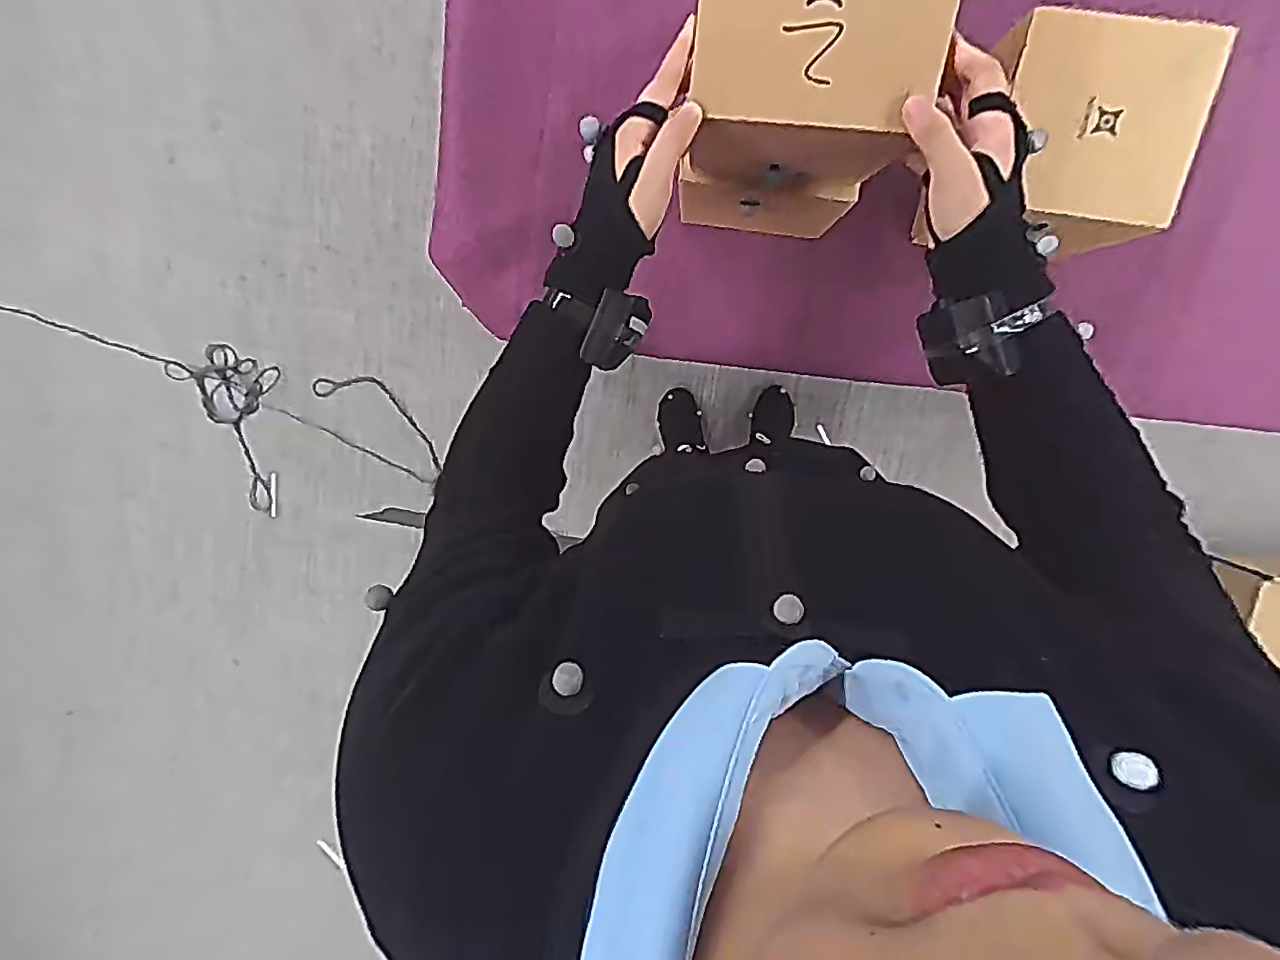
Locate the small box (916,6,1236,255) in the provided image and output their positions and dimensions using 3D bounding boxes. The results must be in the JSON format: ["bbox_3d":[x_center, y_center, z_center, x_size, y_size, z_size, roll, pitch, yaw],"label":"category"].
[{"bbox_3d":[0.428,-0.344,0.570,0.179,0.176,0.168,10,103,4],"label":"small box"}]

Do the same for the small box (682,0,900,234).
[{"bbox_3d":[0.145,-0.378,0.587,0.179,0.176,0.168,9,104,3],"label":"small box"}]
